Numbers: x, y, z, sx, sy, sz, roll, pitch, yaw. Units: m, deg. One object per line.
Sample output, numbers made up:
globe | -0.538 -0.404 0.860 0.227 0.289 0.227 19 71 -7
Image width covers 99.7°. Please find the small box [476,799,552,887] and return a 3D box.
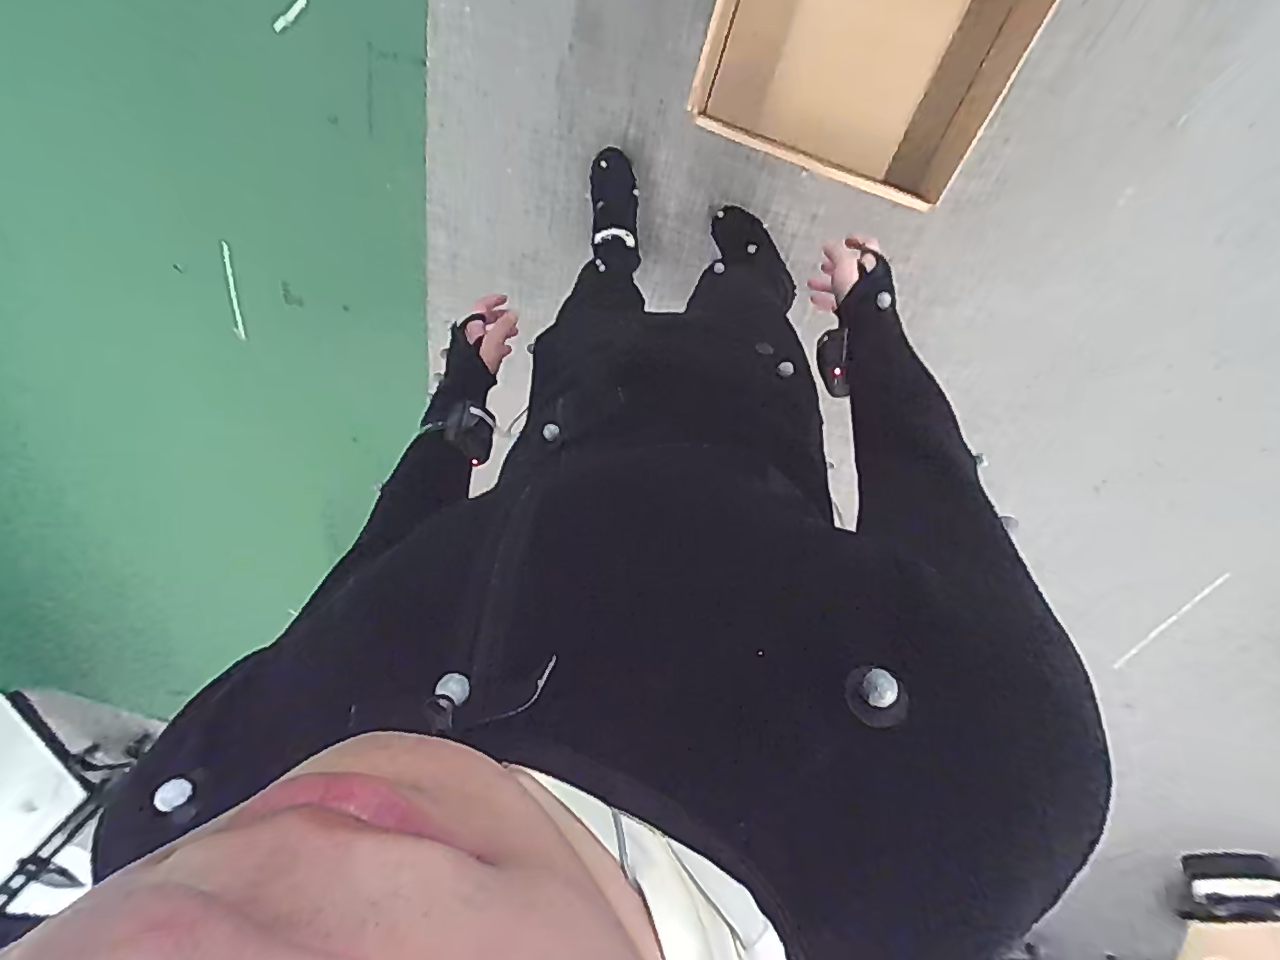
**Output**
small box | -0.389 1.137 1.701 0.168 0.176 0.179 1 124 13
